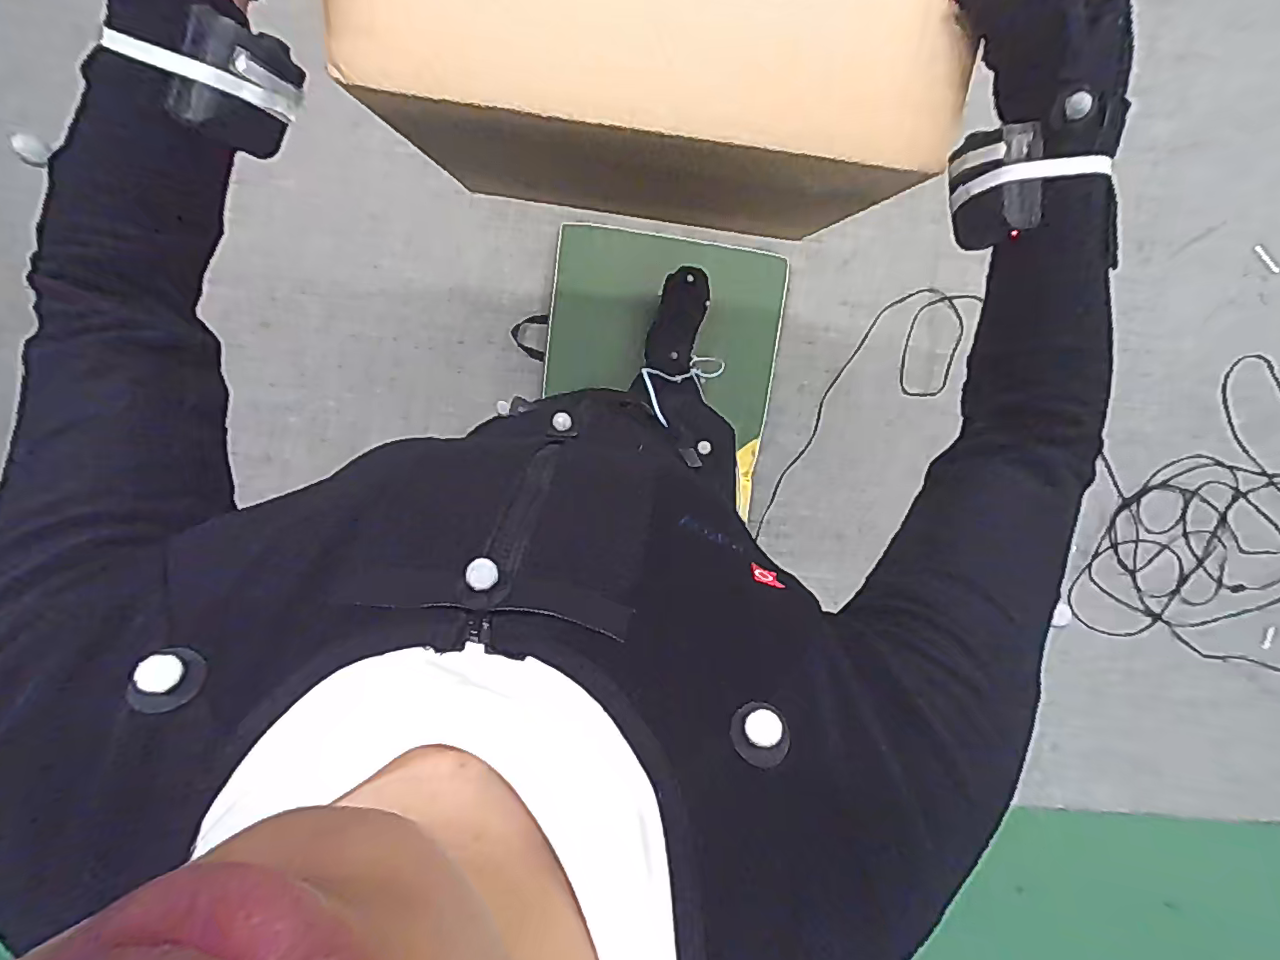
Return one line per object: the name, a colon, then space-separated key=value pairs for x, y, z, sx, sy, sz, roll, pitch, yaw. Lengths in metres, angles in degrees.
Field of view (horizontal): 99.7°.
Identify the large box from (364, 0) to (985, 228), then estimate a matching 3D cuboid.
large box: x=0.028 y=-0.428 z=0.465 sx=0.408 sy=0.320 sz=0.320 roll=6 pitch=107 yaw=-4
